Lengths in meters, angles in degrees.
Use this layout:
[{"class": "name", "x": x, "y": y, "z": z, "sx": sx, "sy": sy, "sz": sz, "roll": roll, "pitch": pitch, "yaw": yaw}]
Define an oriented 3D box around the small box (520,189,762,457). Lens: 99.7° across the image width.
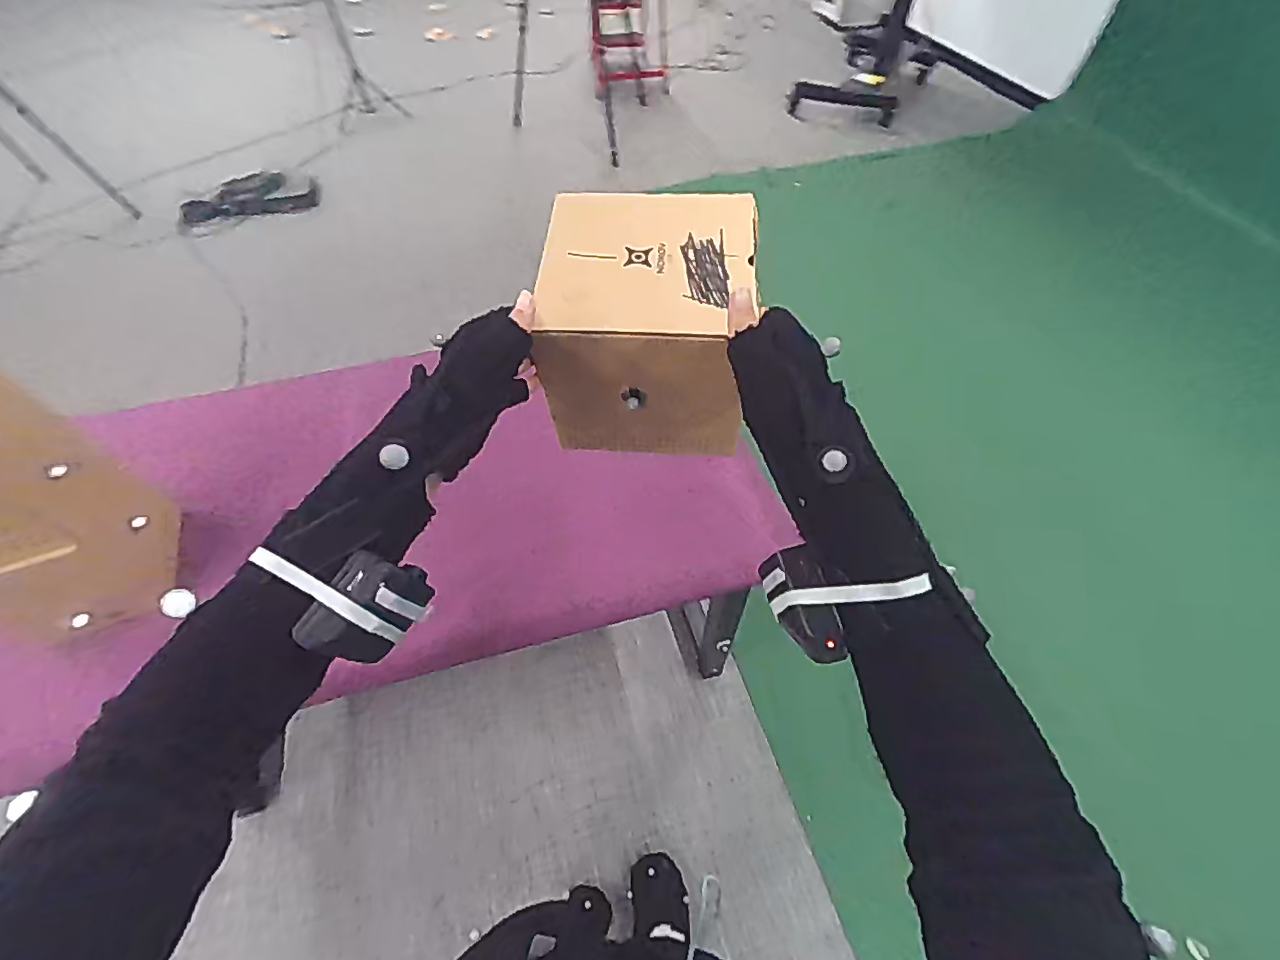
[{"class": "small box", "x": 0.009, "y": -0.137, "z": 0.502, "sx": 0.179, "sy": 0.176, "sz": 0.168, "roll": 6, "pitch": 60, "yaw": 5}]
